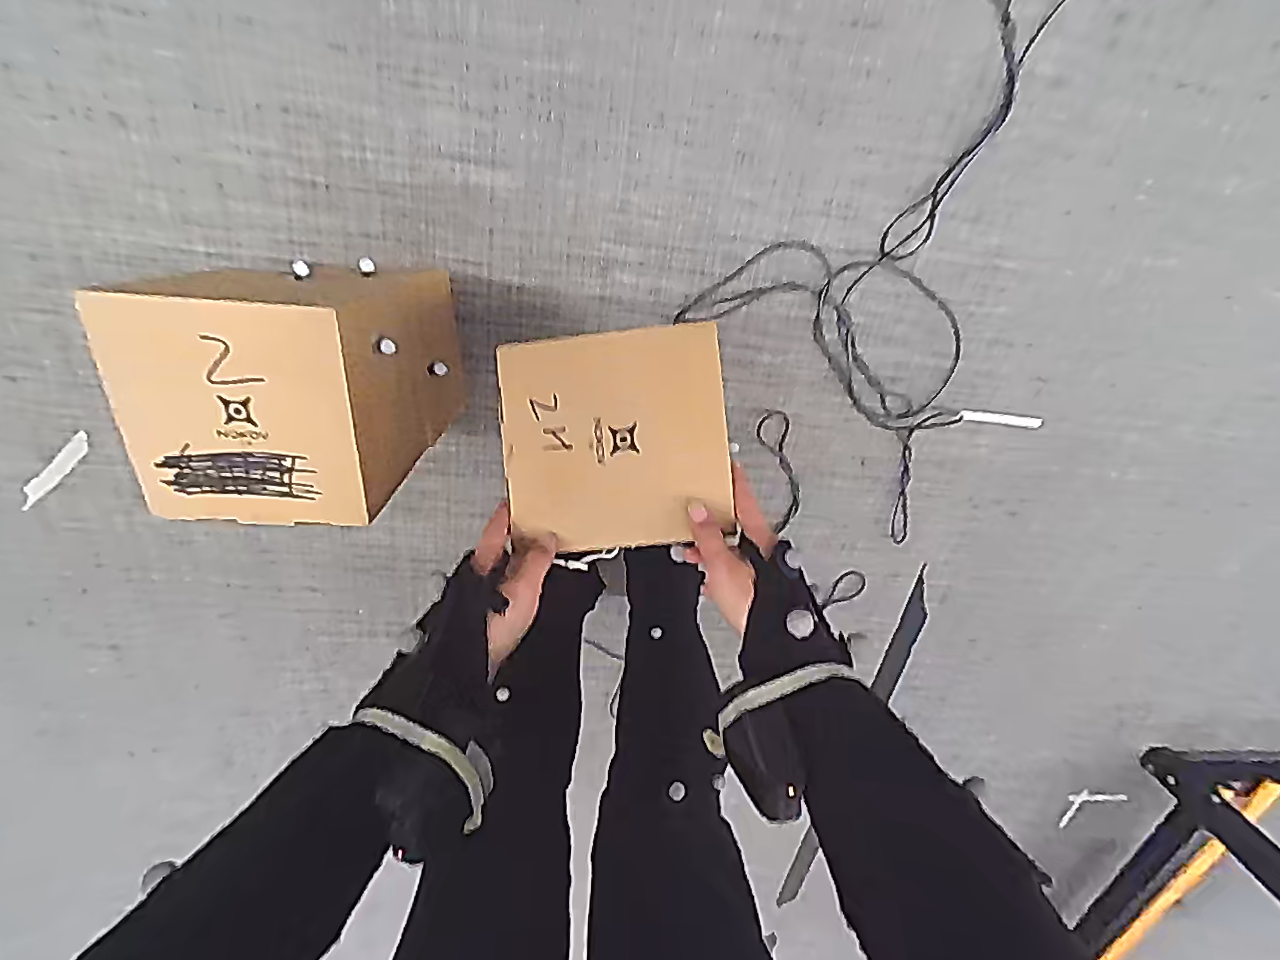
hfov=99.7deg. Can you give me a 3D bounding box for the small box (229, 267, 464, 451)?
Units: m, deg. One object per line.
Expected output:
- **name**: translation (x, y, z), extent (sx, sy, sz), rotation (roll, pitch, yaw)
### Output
- **small box**: translation (-0.308, -0.145, 0.614), extent (0.168, 0.176, 0.179), rotation (-2, 116, -4)

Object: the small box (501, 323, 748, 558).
- **small box**: translation (-0.007, -0.026, 0.481), extent (0.179, 0.176, 0.168), rotation (-6, 86, 6)
